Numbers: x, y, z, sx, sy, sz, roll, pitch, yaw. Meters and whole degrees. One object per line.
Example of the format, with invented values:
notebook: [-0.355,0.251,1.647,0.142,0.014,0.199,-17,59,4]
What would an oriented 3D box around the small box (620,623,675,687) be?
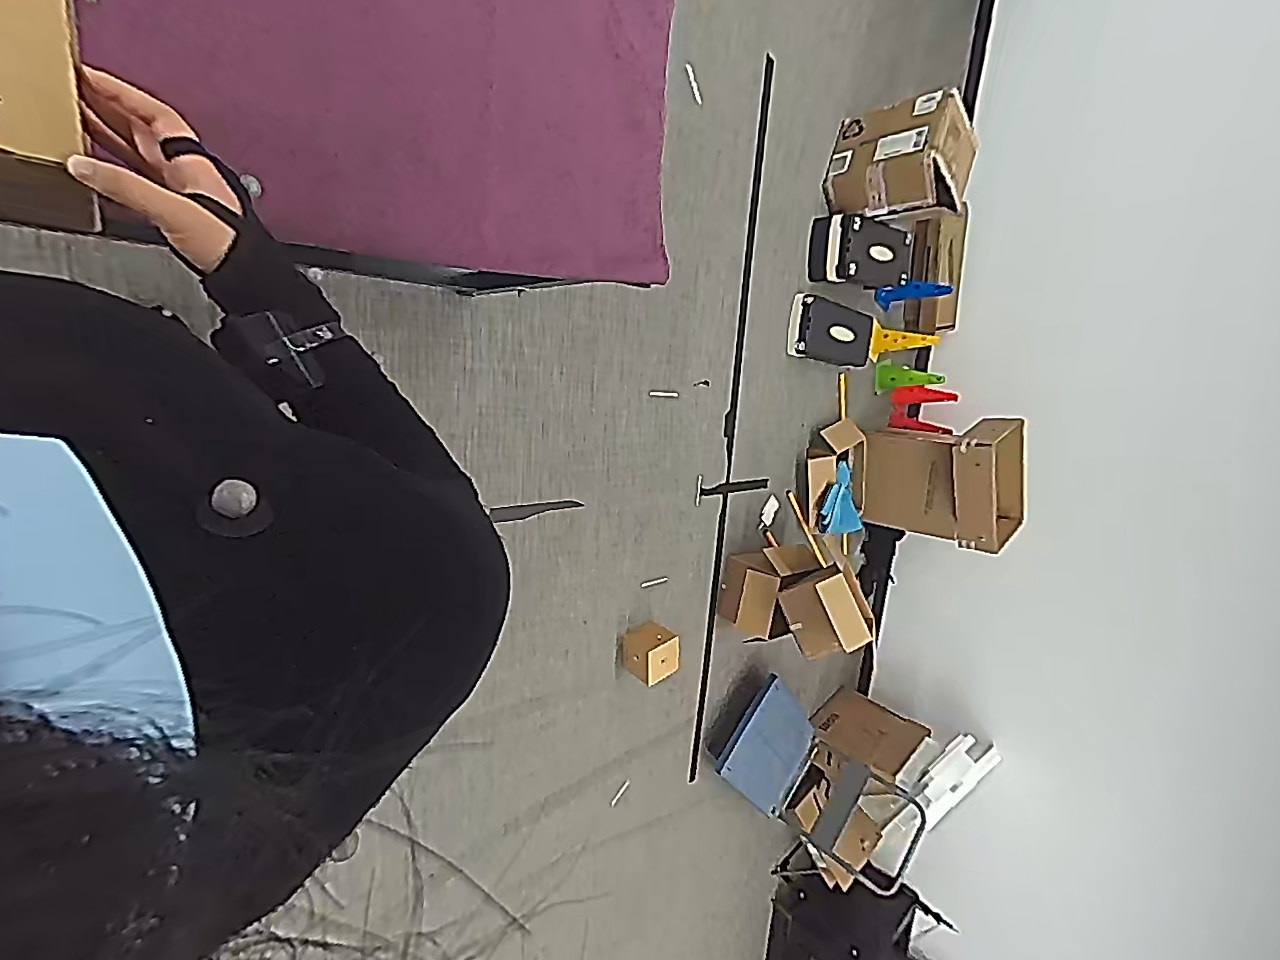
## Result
small box: [0.028,0.725,2.263,0.179,0.176,0.168,-15,112,-40]
